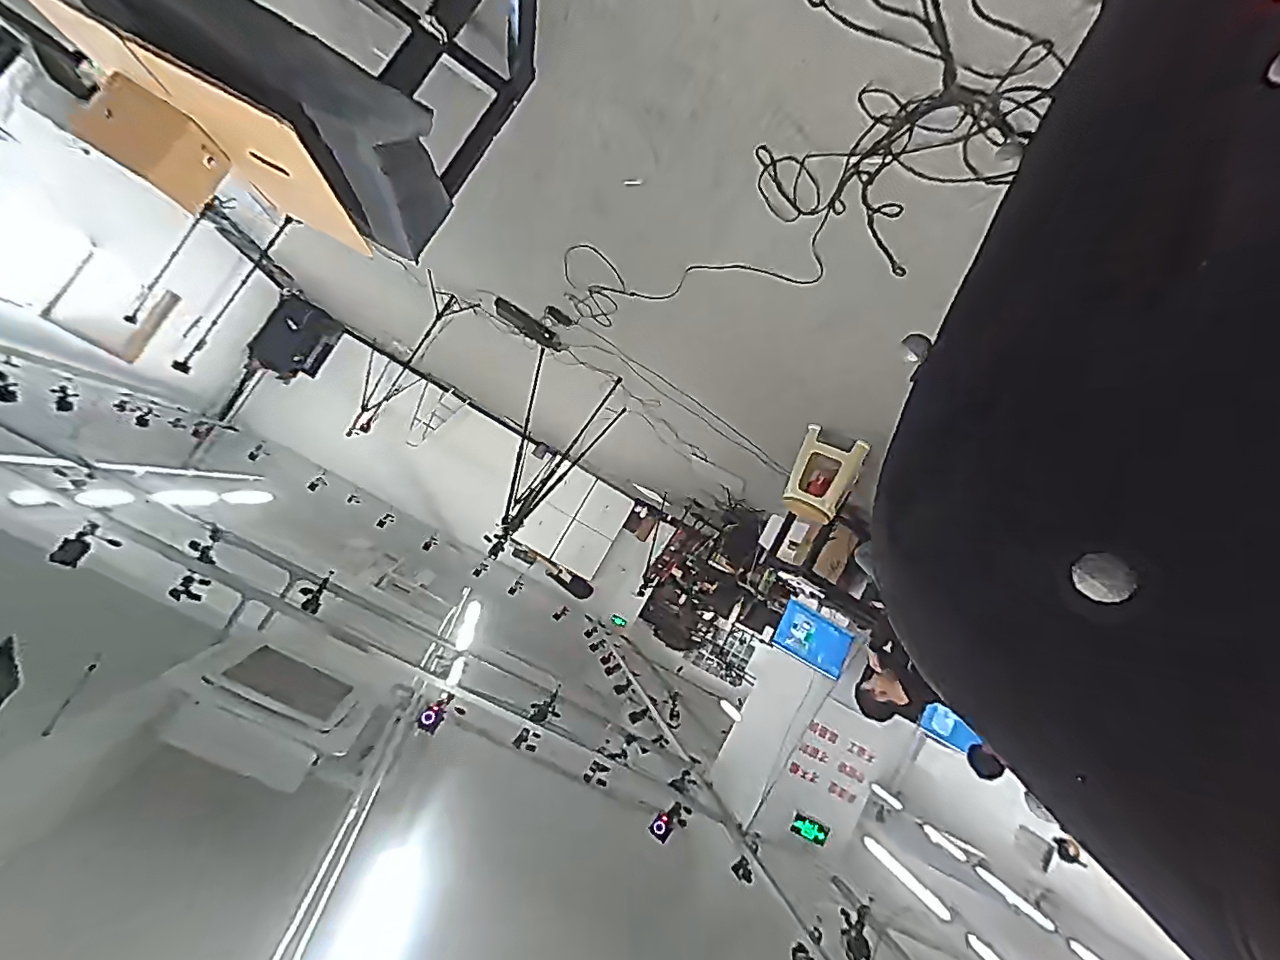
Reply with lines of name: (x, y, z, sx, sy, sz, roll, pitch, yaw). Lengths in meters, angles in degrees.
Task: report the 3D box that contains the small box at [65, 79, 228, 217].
small box: (-1.091, -0.744, 1.214, 0.179, 0.176, 0.168, 30, 175, -9)
